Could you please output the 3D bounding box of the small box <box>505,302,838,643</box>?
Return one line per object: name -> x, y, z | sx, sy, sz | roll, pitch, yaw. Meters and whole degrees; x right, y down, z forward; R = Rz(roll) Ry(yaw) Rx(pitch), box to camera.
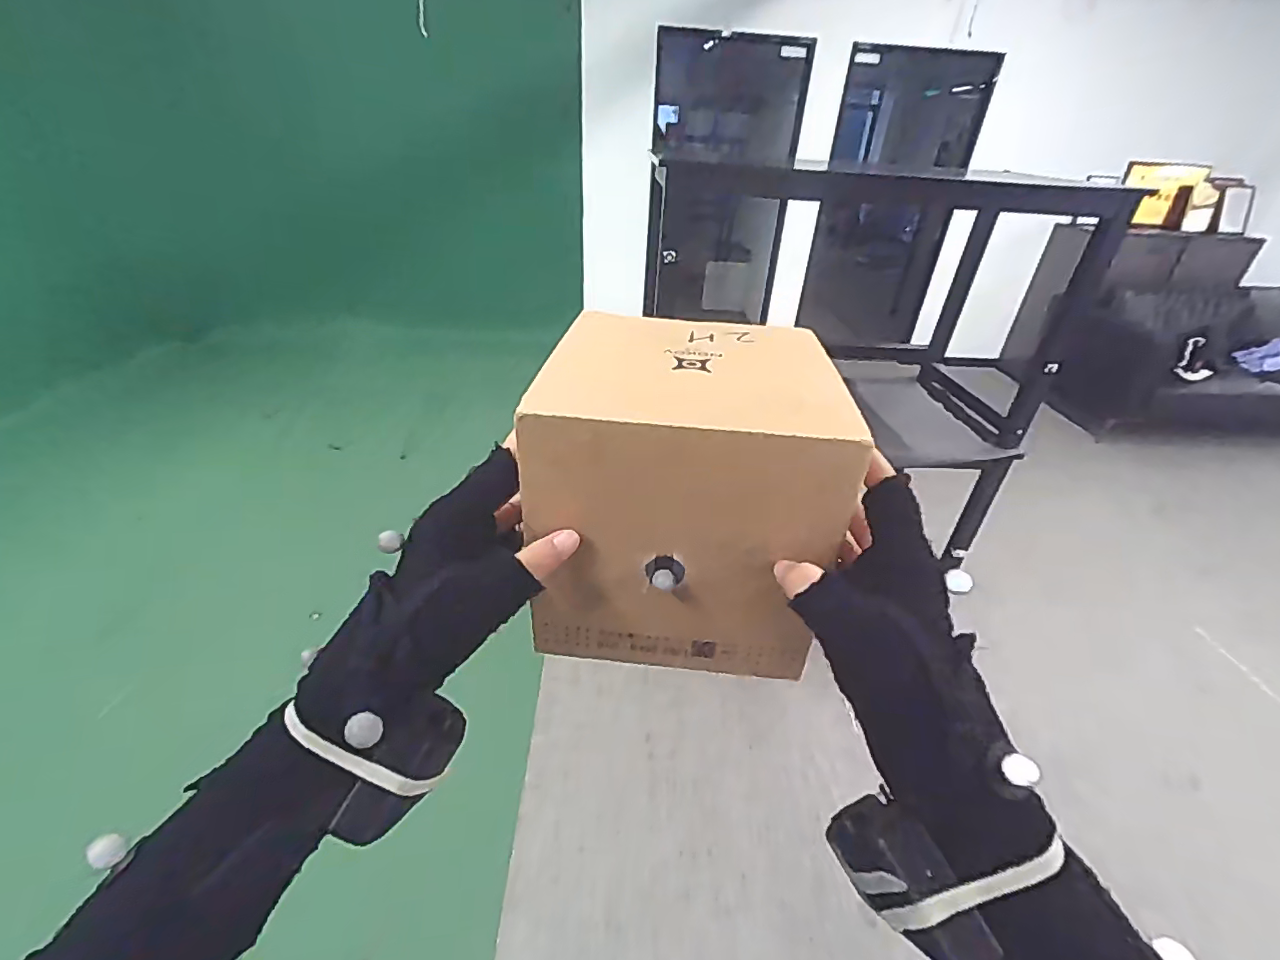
small box -> 0.020, -0.013, 0.371 | 0.168, 0.176, 0.179 | 6, 31, 4
